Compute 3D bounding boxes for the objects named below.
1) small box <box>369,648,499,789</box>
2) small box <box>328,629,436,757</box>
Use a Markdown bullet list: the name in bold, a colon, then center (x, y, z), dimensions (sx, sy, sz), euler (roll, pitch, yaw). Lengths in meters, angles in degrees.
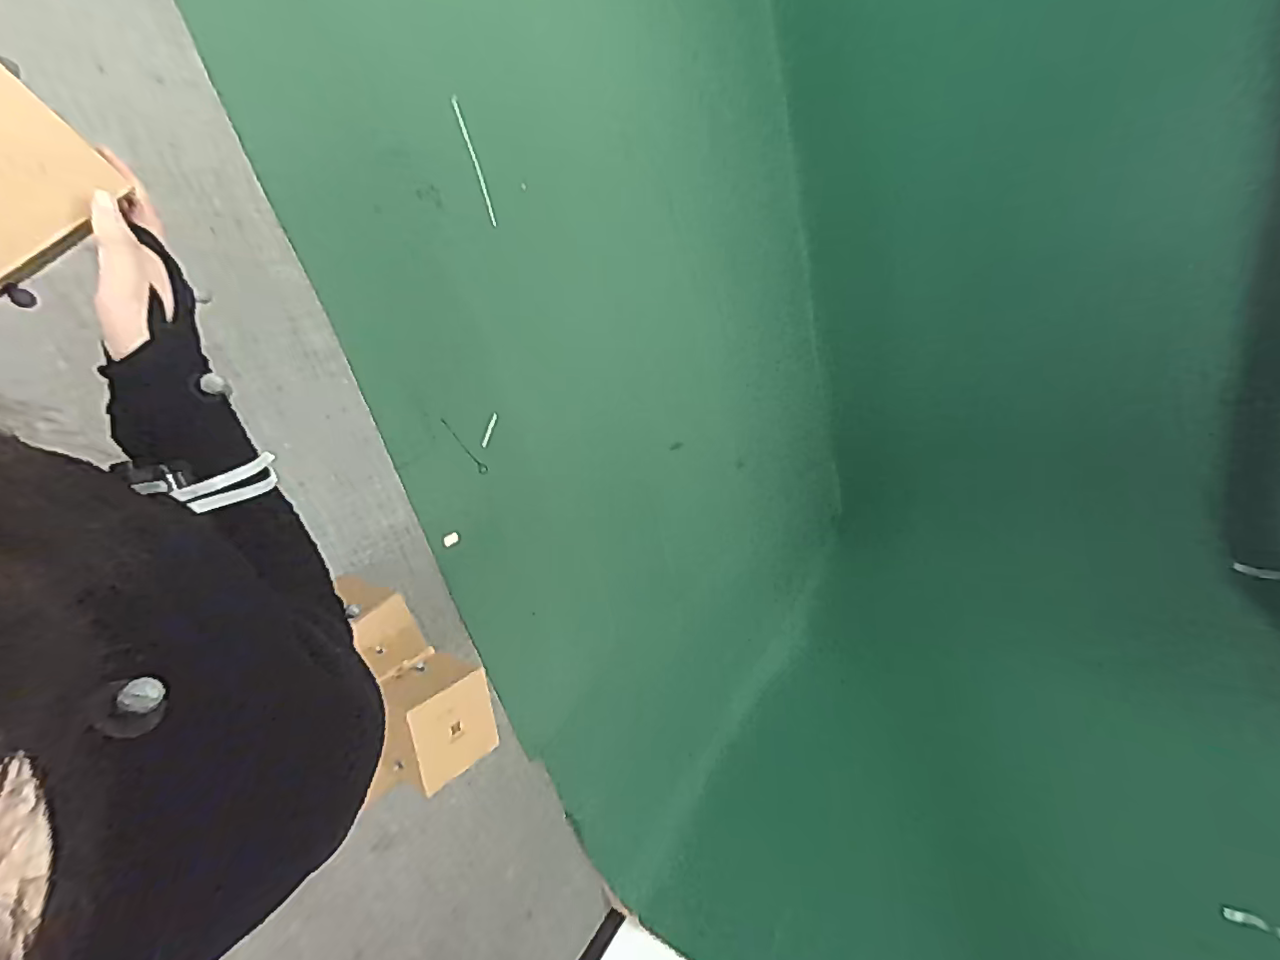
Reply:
- **small box**: center (-0.411, 0.463, 1.080), dimensions (0.168, 0.176, 0.179), euler (-21, 107, -49)
- **small box**: center (-0.543, 0.452, 1.177), dimensions (0.168, 0.176, 0.179), euler (-25, 111, -48)
